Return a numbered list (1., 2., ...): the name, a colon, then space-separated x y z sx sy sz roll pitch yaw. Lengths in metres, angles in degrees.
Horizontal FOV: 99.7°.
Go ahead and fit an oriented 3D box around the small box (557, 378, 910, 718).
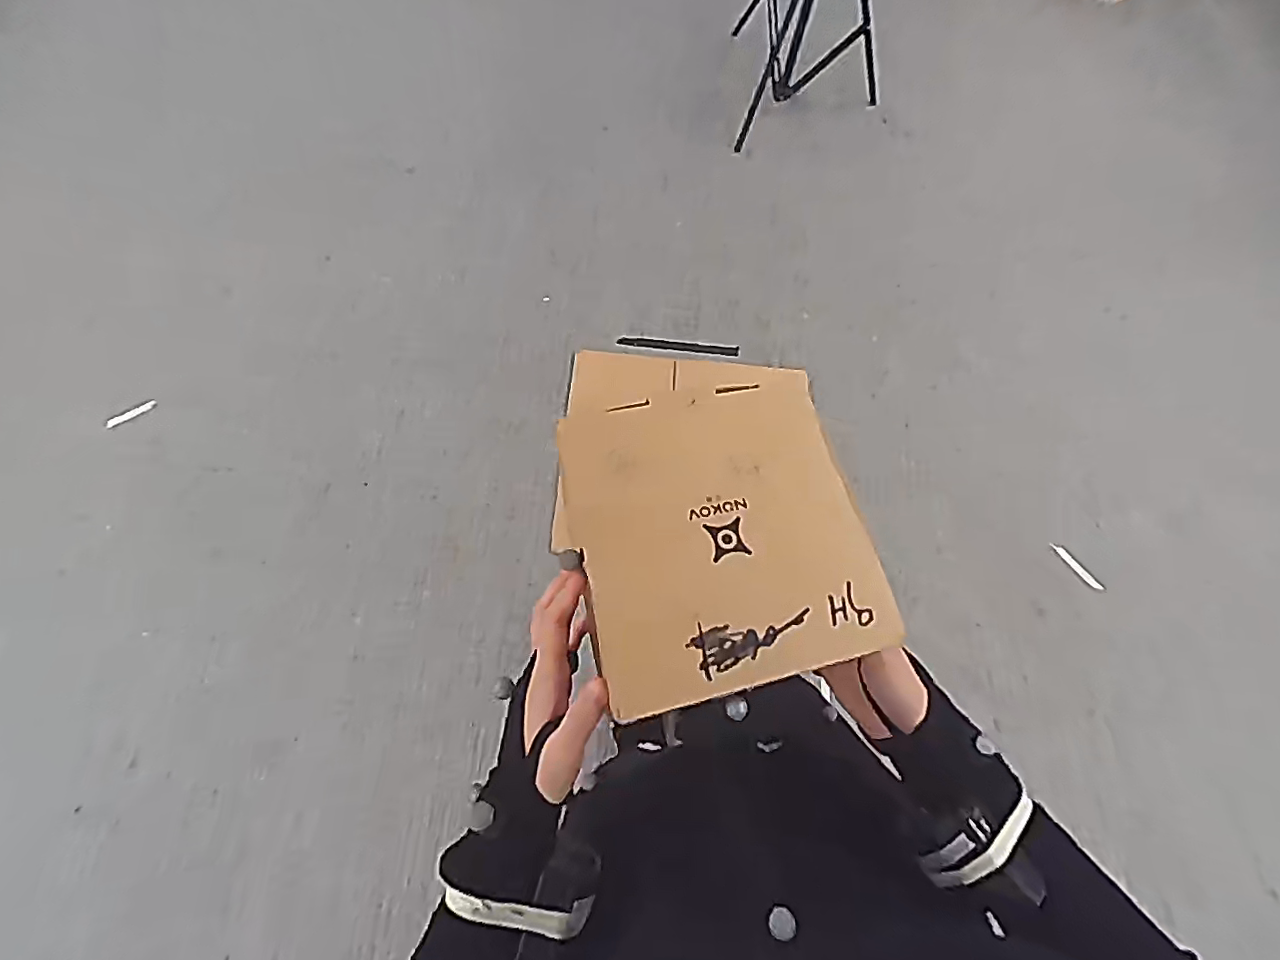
1. small box: 0.040 0.057 0.380 0.168 0.176 0.179 -12 69 -9
